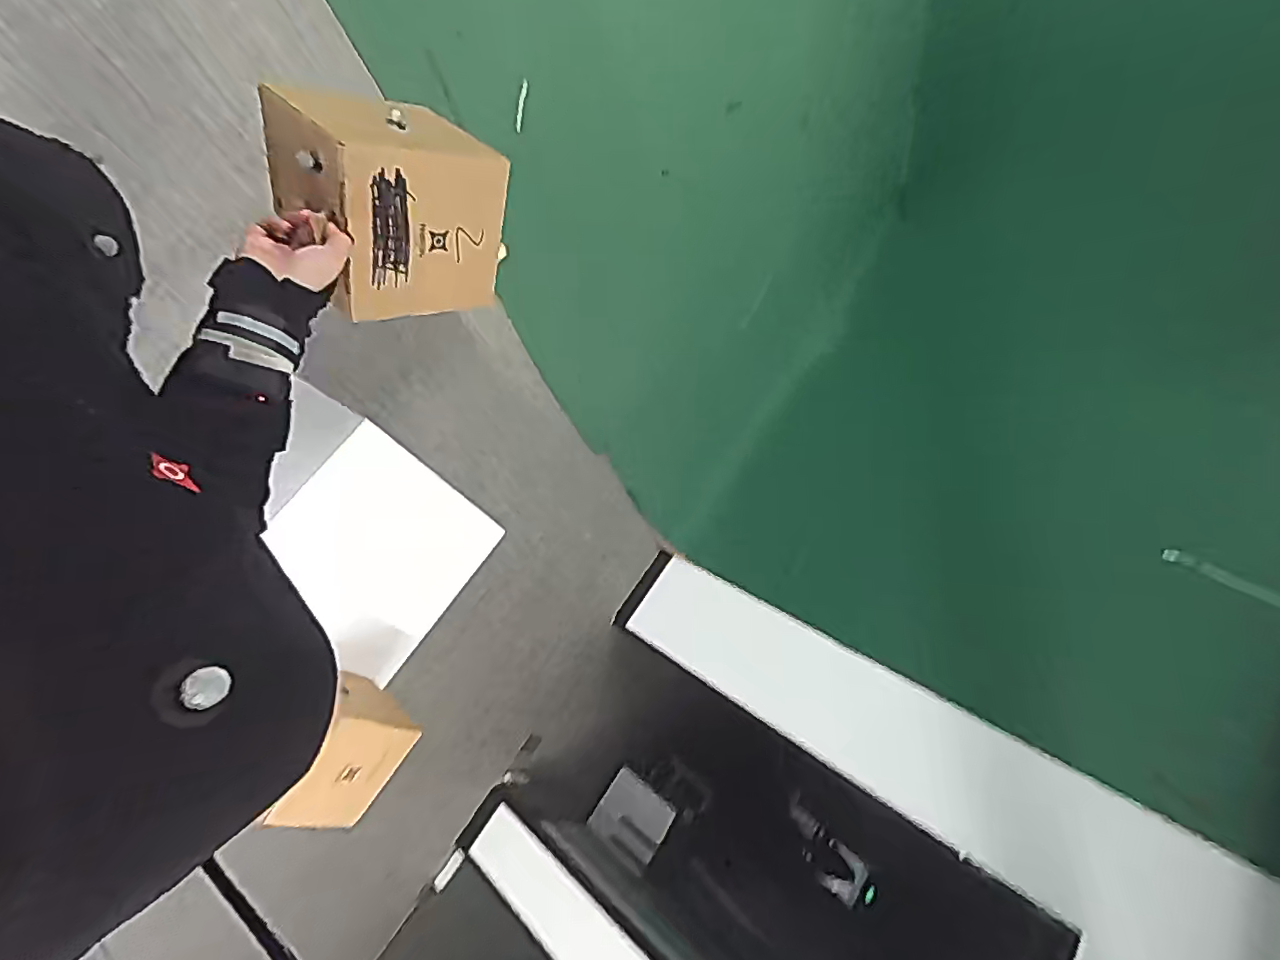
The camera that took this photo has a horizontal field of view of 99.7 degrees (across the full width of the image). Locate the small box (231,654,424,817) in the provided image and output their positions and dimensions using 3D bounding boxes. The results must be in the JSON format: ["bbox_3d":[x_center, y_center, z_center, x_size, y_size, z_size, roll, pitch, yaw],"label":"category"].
[{"bbox_3d":[-0.498,0.404,0.866,0.168,0.176,0.179,-54,147,-15],"label":"small box"}]
